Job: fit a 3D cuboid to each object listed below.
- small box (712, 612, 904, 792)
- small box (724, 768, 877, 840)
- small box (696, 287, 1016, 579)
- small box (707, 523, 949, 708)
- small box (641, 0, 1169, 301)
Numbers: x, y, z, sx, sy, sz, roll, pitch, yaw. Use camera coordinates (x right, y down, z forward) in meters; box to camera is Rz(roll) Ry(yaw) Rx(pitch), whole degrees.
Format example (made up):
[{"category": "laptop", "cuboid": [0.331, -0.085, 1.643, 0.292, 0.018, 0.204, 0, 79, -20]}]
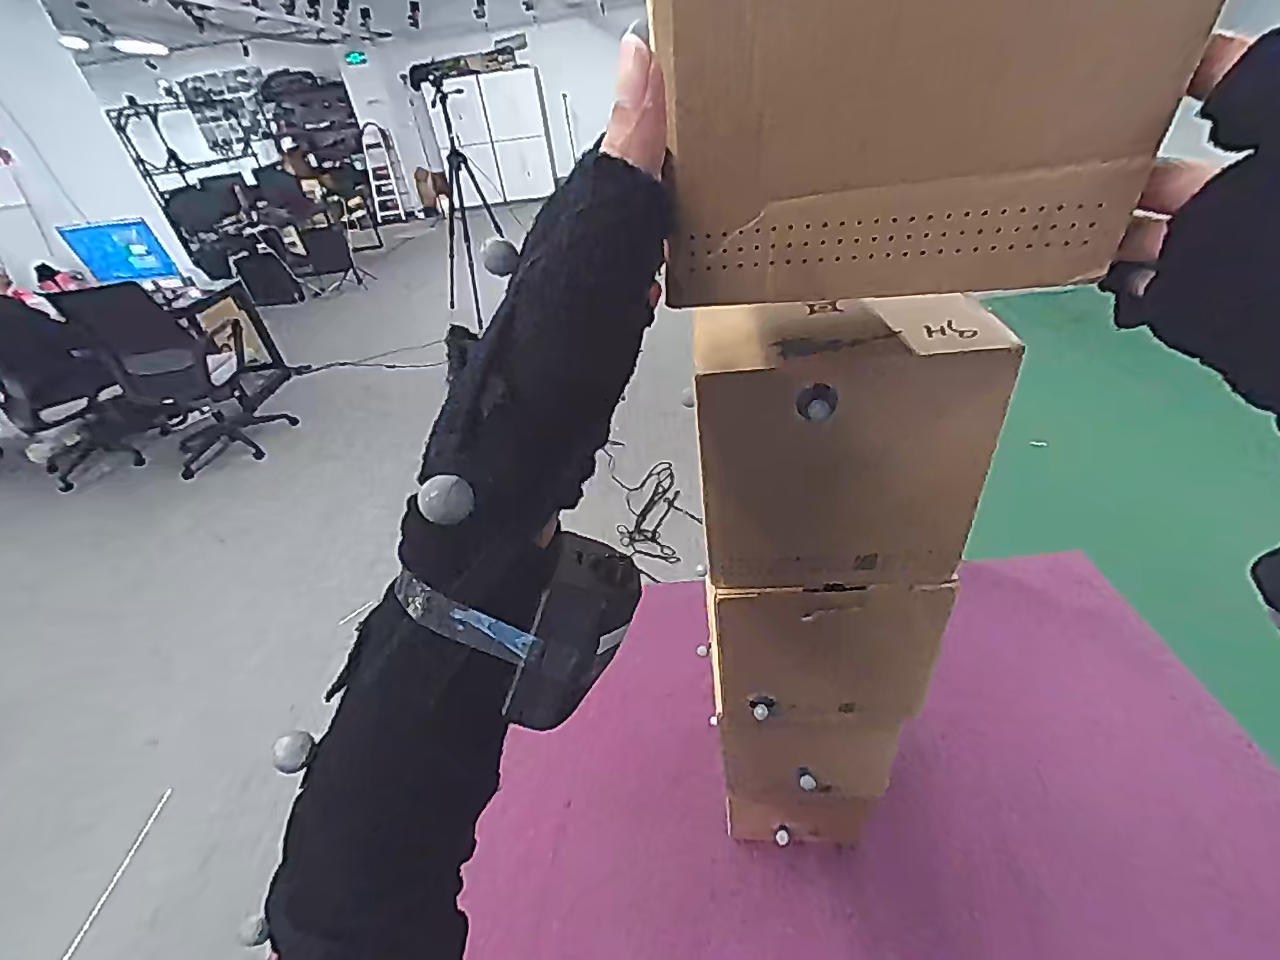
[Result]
[{"category": "small box", "cuboid": [0.166, 0.213, 0.594, 0.168, 0.176, 0.179, -5, 36, 7]}, {"category": "small box", "cuboid": [0.191, 0.333, 0.702, 0.168, 0.176, 0.179, -4, 37, 8]}, {"category": "small box", "cuboid": [0.128, -0.047, 0.398, 0.168, 0.176, 0.179, -4, 35, 8]}, {"category": "small box", "cuboid": [0.148, 0.087, 0.489, 0.168, 0.176, 0.179, -4, 35, 7]}, {"category": "small box", "cuboid": [0.093, -0.189, 0.241, 0.179, 0.176, 0.168, -1, 40, 7]}]
